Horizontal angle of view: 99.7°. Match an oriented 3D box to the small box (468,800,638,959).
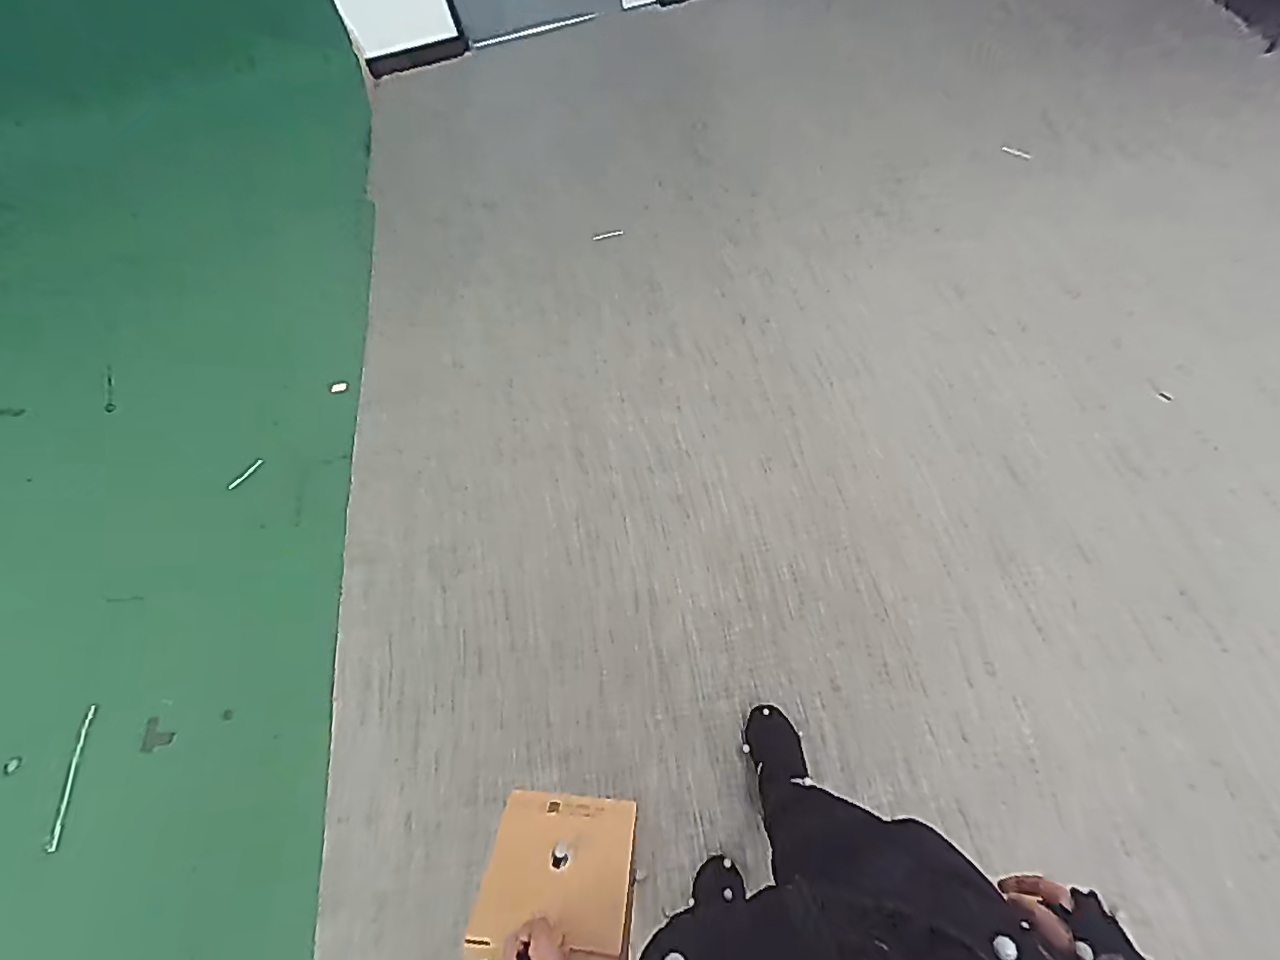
[{"bbox_3d":[-0.093,0.521,0.650,0.168,0.179,0.176,3,22,4],"label":"small box"}]
